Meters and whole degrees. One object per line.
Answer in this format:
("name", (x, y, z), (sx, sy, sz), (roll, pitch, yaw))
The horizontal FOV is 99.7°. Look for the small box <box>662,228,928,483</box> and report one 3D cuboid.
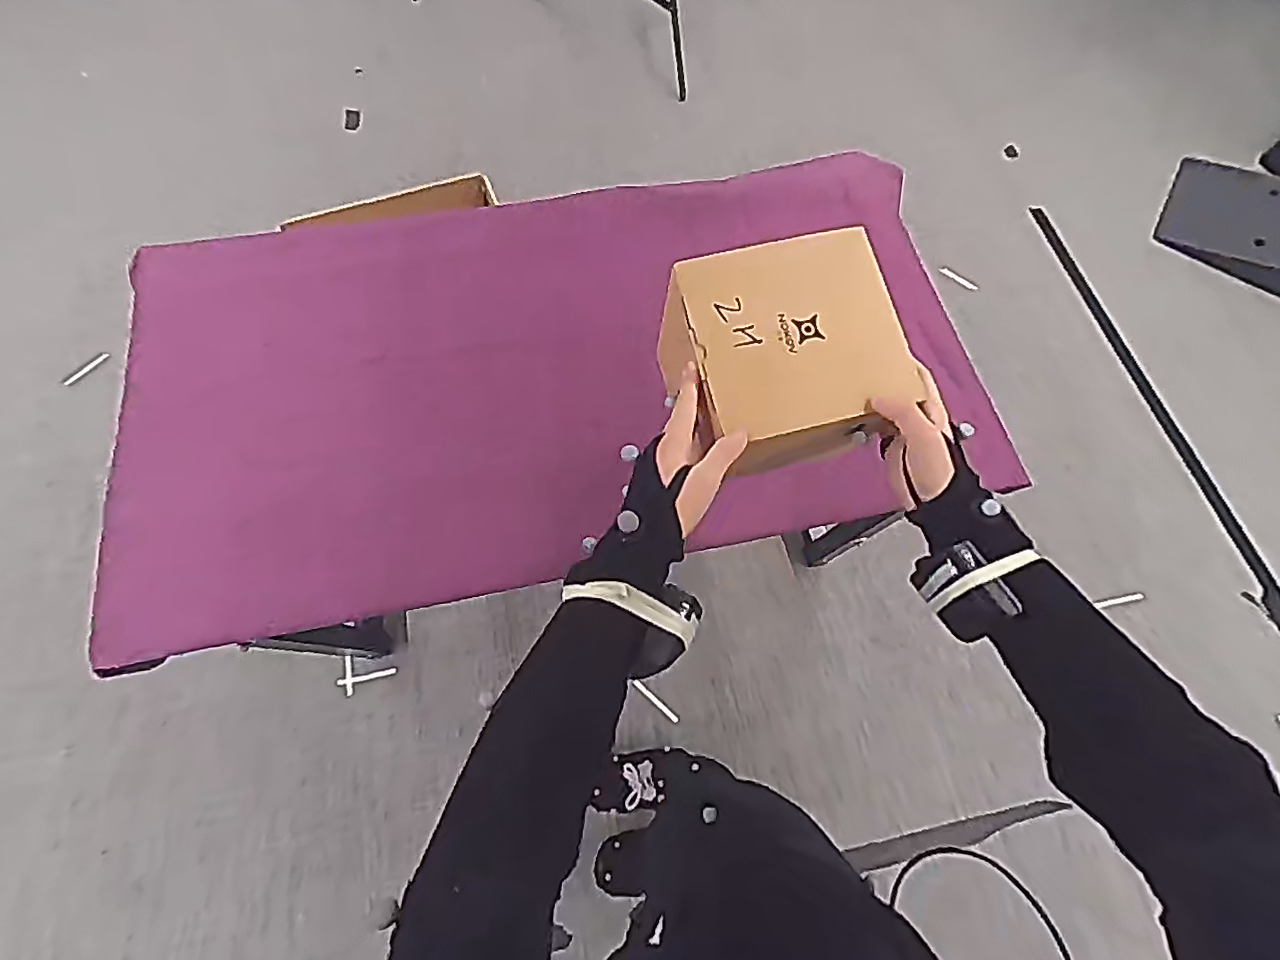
("small box", (0.128, -0.106, 0.521), (0.179, 0.176, 0.168), (-13, 79, -5))
